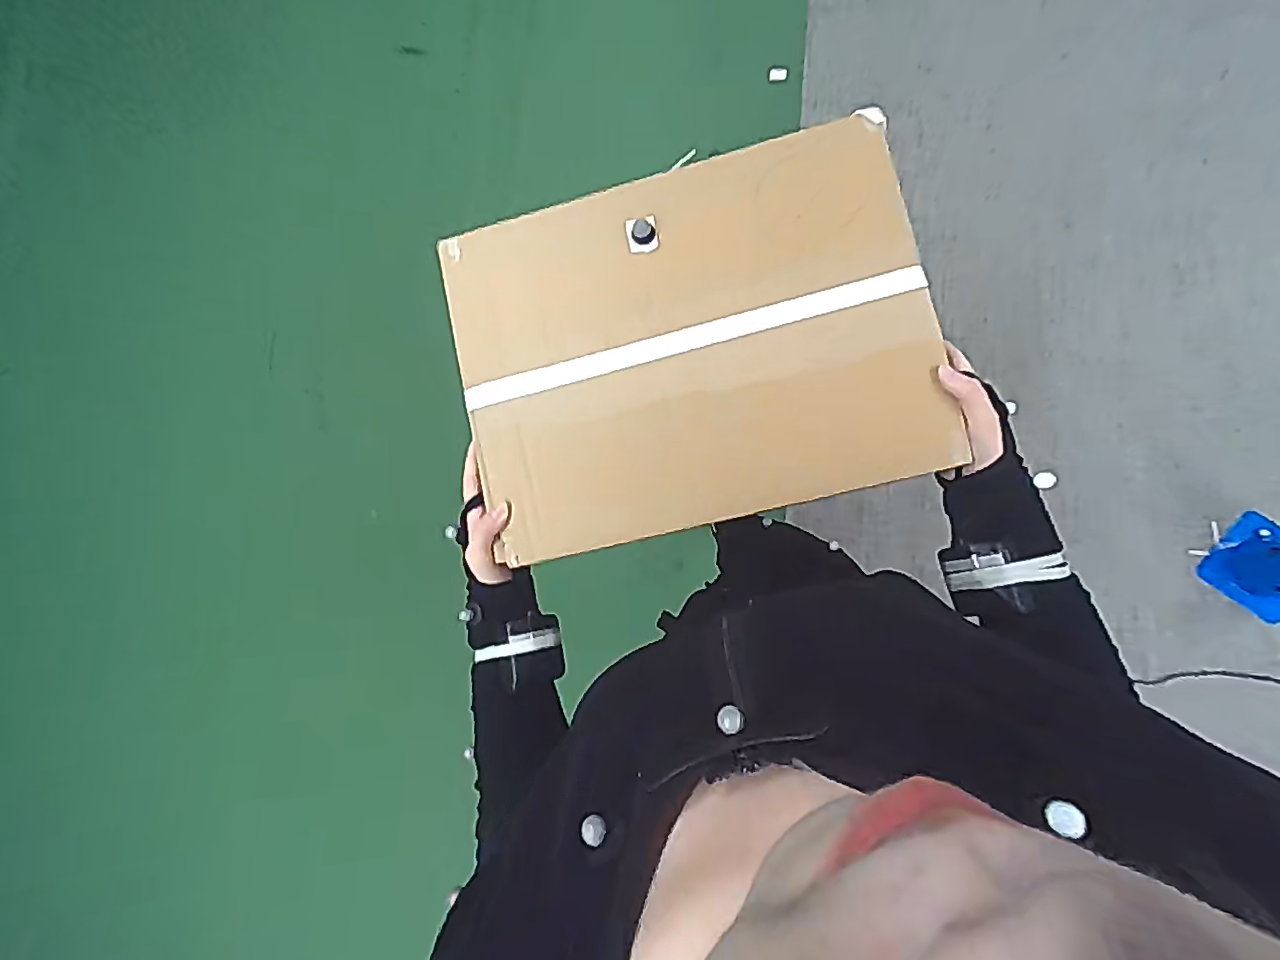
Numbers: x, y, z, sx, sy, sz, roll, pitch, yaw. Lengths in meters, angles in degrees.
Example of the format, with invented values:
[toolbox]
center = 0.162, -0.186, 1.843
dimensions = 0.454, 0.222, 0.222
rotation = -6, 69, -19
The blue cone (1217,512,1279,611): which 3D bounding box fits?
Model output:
[blue cone]
center = 1.420, 0.171, 1.074
dimensions = 0.193, 0.380, 0.192
rotation = 36, 91, 13
